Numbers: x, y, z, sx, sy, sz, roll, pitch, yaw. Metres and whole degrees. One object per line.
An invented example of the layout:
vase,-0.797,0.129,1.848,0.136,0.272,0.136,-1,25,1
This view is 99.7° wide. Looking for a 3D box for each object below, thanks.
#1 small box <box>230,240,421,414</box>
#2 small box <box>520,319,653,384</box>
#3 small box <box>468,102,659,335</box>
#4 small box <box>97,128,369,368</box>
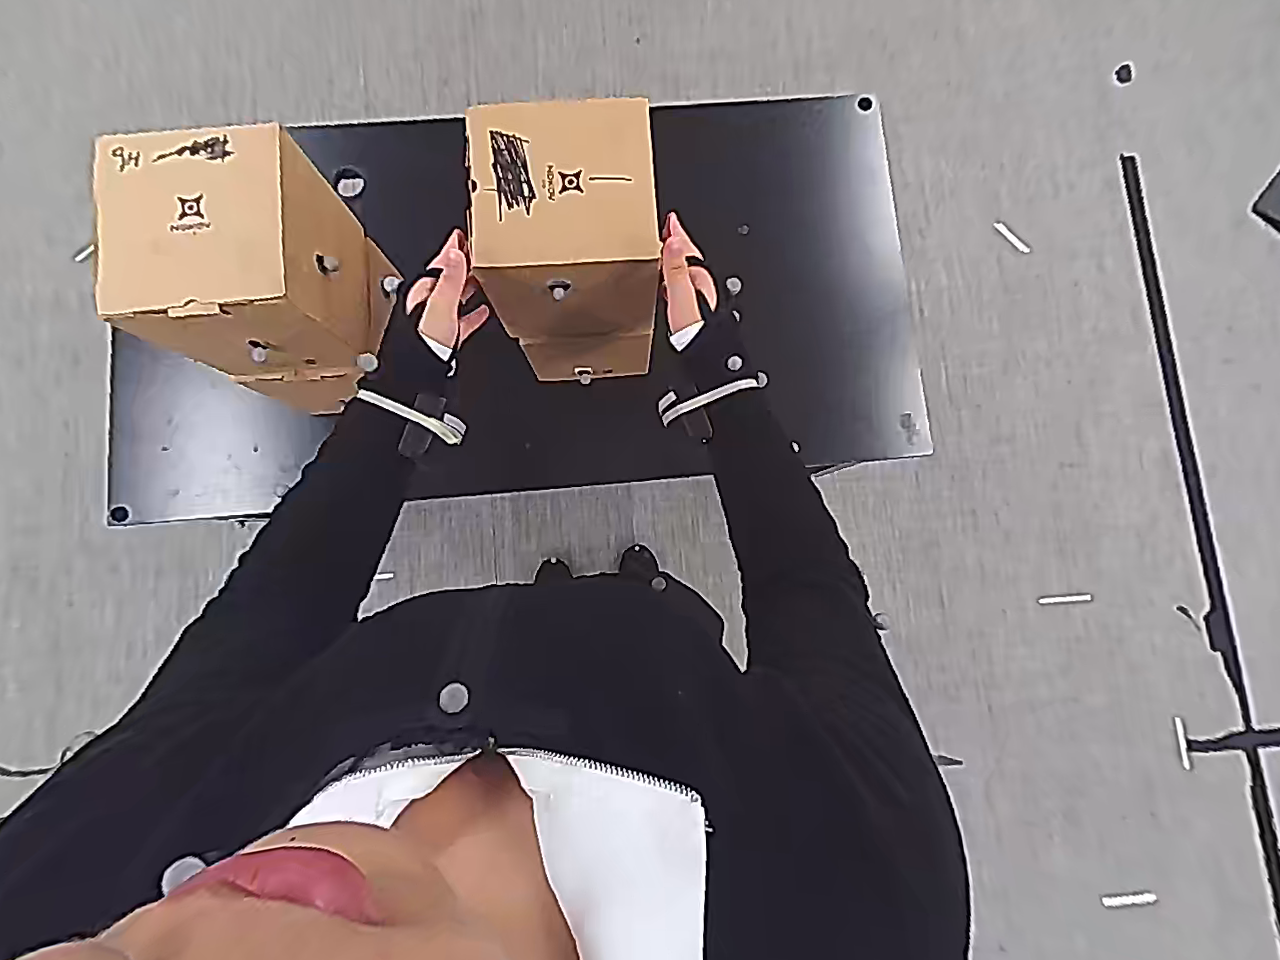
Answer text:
small box,-0.408,-0.196,0.728,0.168,0.176,0.179,-3,84,-2
small box,-0.075,-0.246,0.749,0.168,0.176,0.179,-6,84,-2
small box,-0.074,-0.266,0.586,0.179,0.176,0.168,-4,83,-2
small box,-0.405,-0.224,0.567,0.168,0.176,0.179,-6,84,-3
